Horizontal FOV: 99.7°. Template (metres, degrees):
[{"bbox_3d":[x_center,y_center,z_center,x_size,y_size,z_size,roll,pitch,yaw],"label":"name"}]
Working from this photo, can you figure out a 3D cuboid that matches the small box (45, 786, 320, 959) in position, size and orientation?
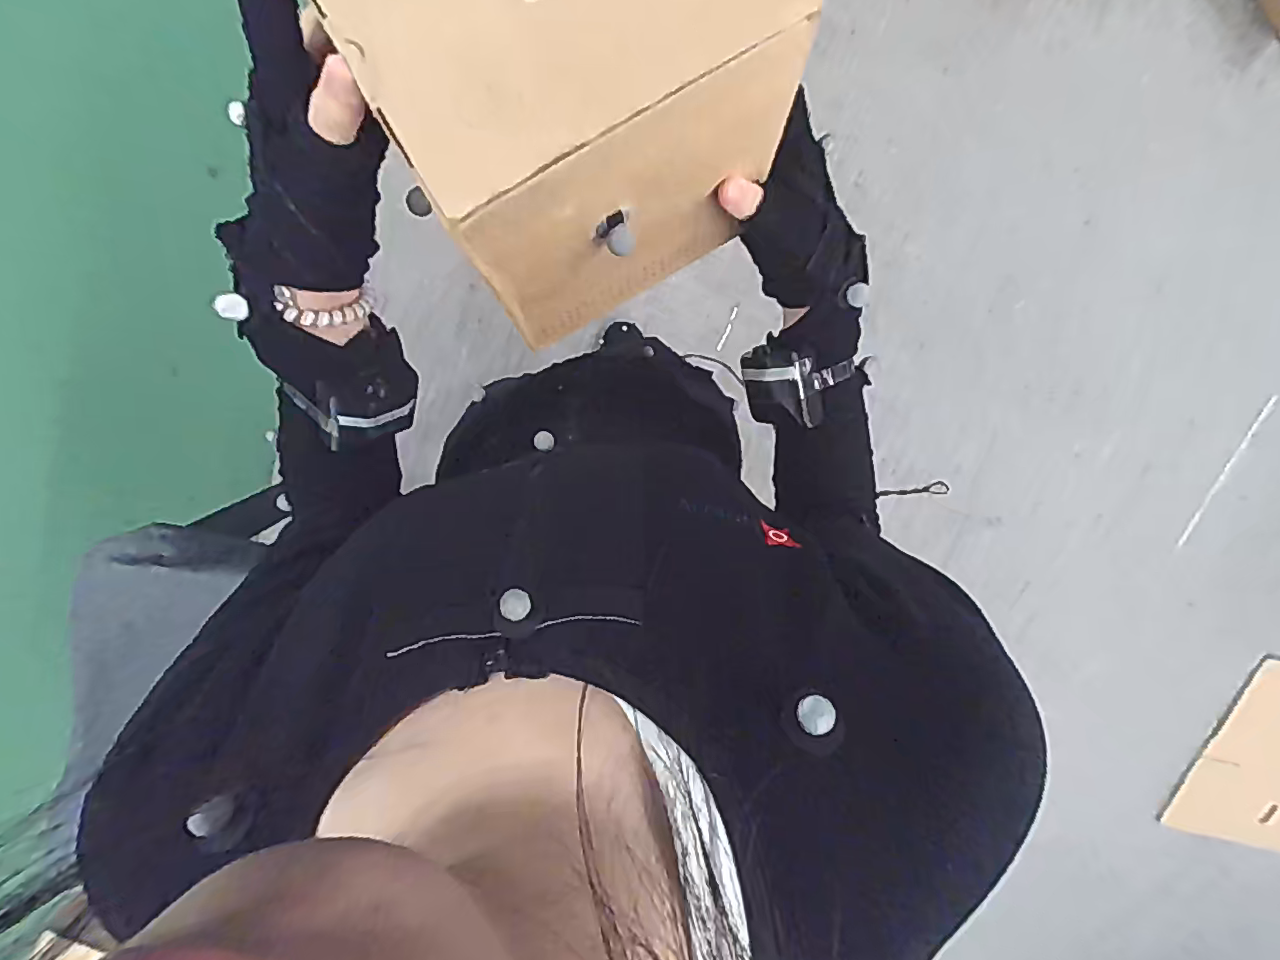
[{"bbox_3d":[-0.513,0.497,0.619,0.179,0.176,0.168,30,102,-9],"label":"small box"}]
